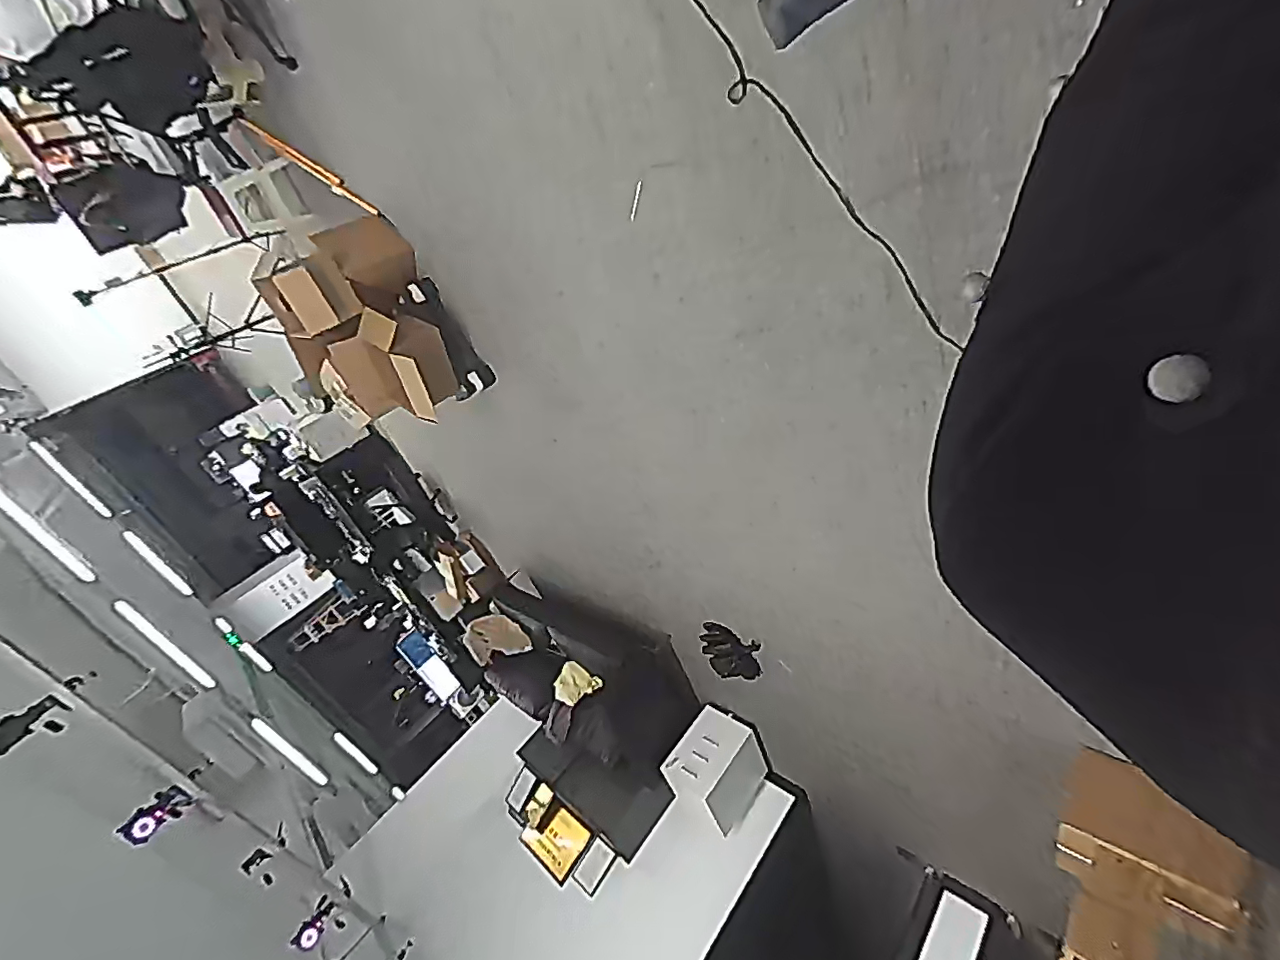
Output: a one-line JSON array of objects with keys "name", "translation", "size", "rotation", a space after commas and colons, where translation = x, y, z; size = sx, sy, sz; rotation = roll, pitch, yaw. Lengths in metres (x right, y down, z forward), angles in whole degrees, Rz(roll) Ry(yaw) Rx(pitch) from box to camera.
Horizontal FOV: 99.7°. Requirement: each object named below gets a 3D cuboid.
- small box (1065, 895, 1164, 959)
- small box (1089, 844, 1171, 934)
[{"name": "small box", "translation": [1.354, 1.337, 1.546], "size": [0.179, 0.176, 0.168], "rotation": [14, 136, 42]}, {"name": "small box", "translation": [1.470, 1.252, 1.628], "size": [0.168, 0.176, 0.179], "rotation": [12, 133, 45]}]
